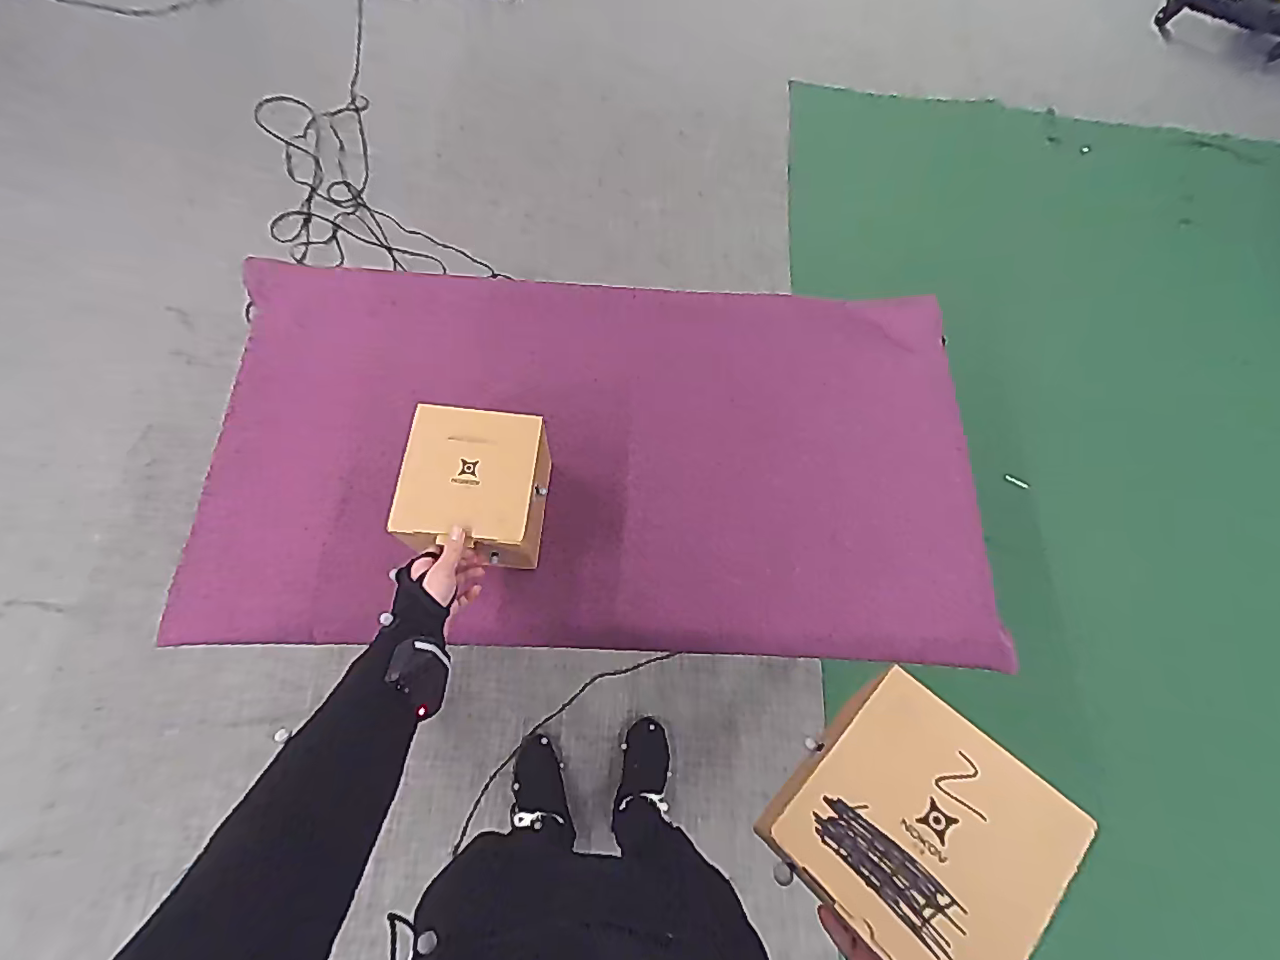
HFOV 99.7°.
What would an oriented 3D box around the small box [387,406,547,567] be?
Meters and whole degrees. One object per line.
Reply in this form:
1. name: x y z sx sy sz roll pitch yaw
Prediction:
1. small box: -0.226 0.019 0.762 0.168 0.176 0.179 7 69 -4
